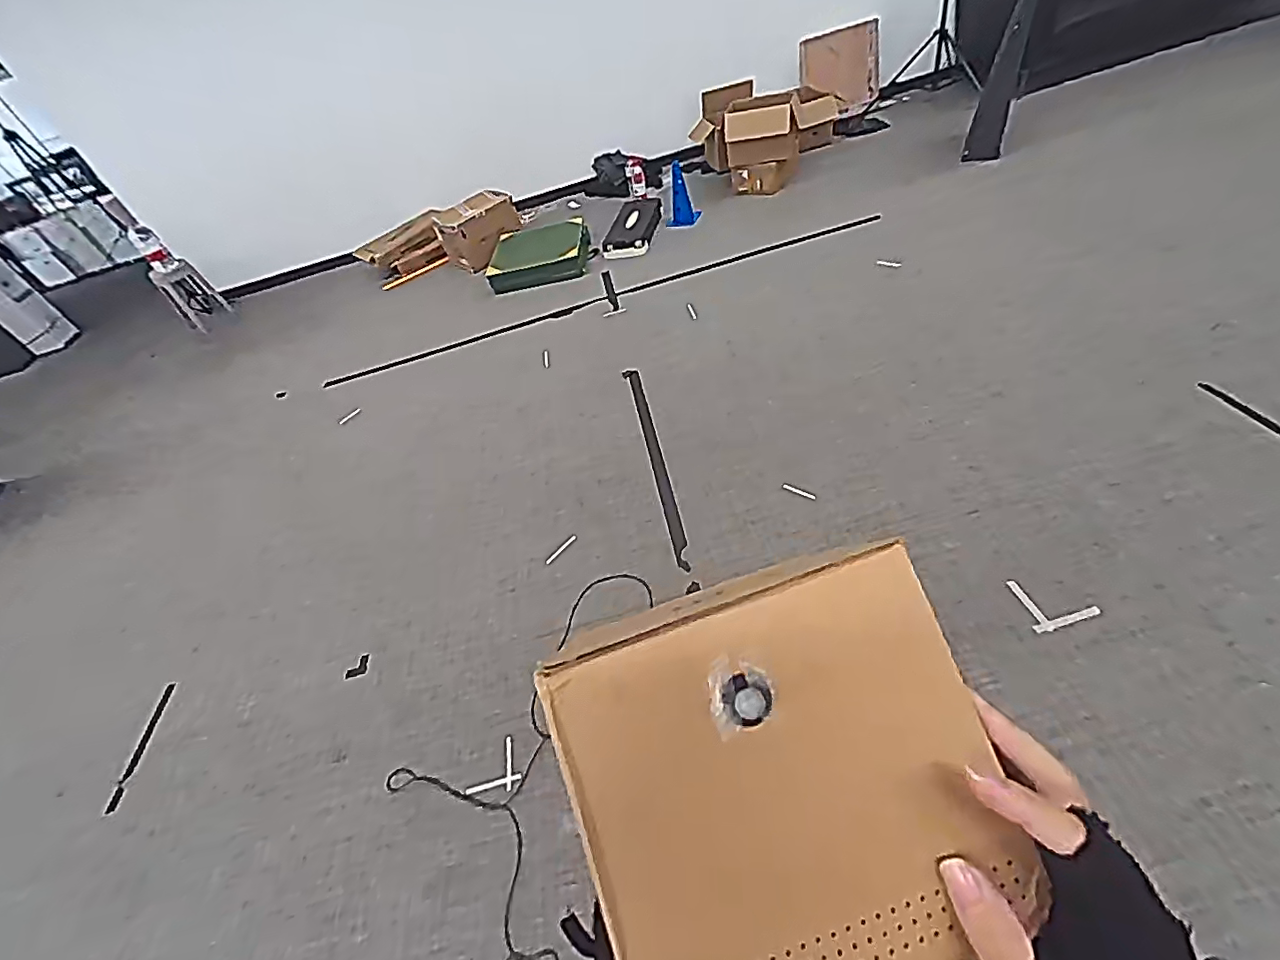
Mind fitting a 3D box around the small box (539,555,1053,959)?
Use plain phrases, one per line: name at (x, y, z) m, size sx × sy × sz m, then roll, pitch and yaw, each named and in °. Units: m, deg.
small box at (0.065, 0.154, 0.299) m, size 0.179 × 0.168 × 0.176 m, roll -19°, pitch 79°, yaw -4°
